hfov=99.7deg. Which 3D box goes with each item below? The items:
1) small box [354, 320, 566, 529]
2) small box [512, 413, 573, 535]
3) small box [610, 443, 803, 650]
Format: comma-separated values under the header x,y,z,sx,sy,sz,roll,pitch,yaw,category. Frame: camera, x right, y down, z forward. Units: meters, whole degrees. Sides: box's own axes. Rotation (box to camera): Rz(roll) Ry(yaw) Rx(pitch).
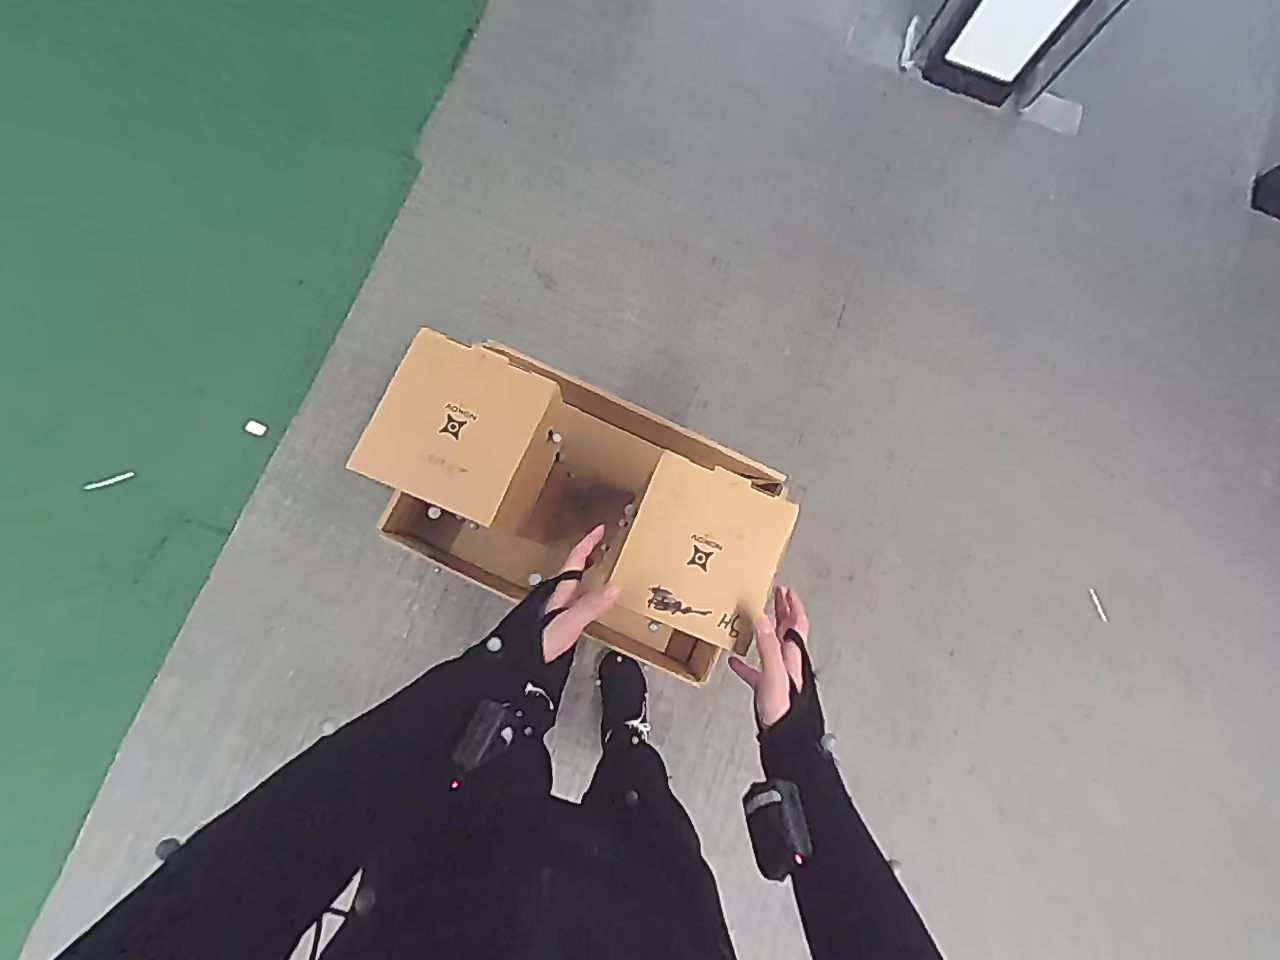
x,y,z,sx,sy,sz,roll,pitch,yaw,category
-0.198,-0.054,0.656,0.168,0.176,0.179,24,79,1,small box
-0.209,-0.030,0.817,0.168,0.176,0.179,23,80,1,small box
0.067,0.080,0.656,0.168,0.176,0.179,23,81,0,small box
